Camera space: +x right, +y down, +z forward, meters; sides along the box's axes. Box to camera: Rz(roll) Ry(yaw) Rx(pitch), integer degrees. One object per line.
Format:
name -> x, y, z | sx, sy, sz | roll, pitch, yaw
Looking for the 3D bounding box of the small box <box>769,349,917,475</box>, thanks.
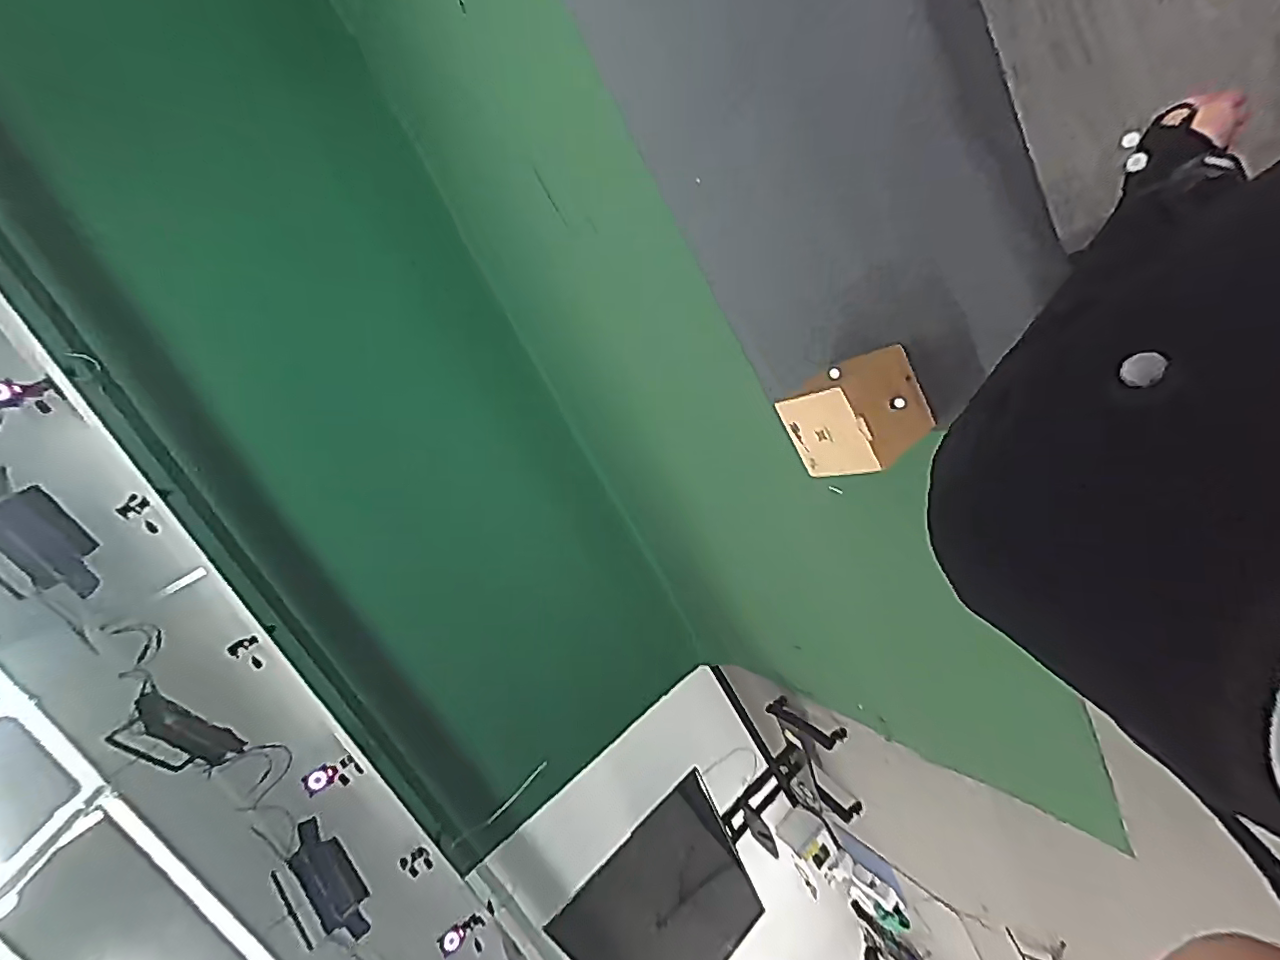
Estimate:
small box -> 0.384, -0.124, 1.009 | 0.168, 0.176, 0.179 | 61, 155, -10
